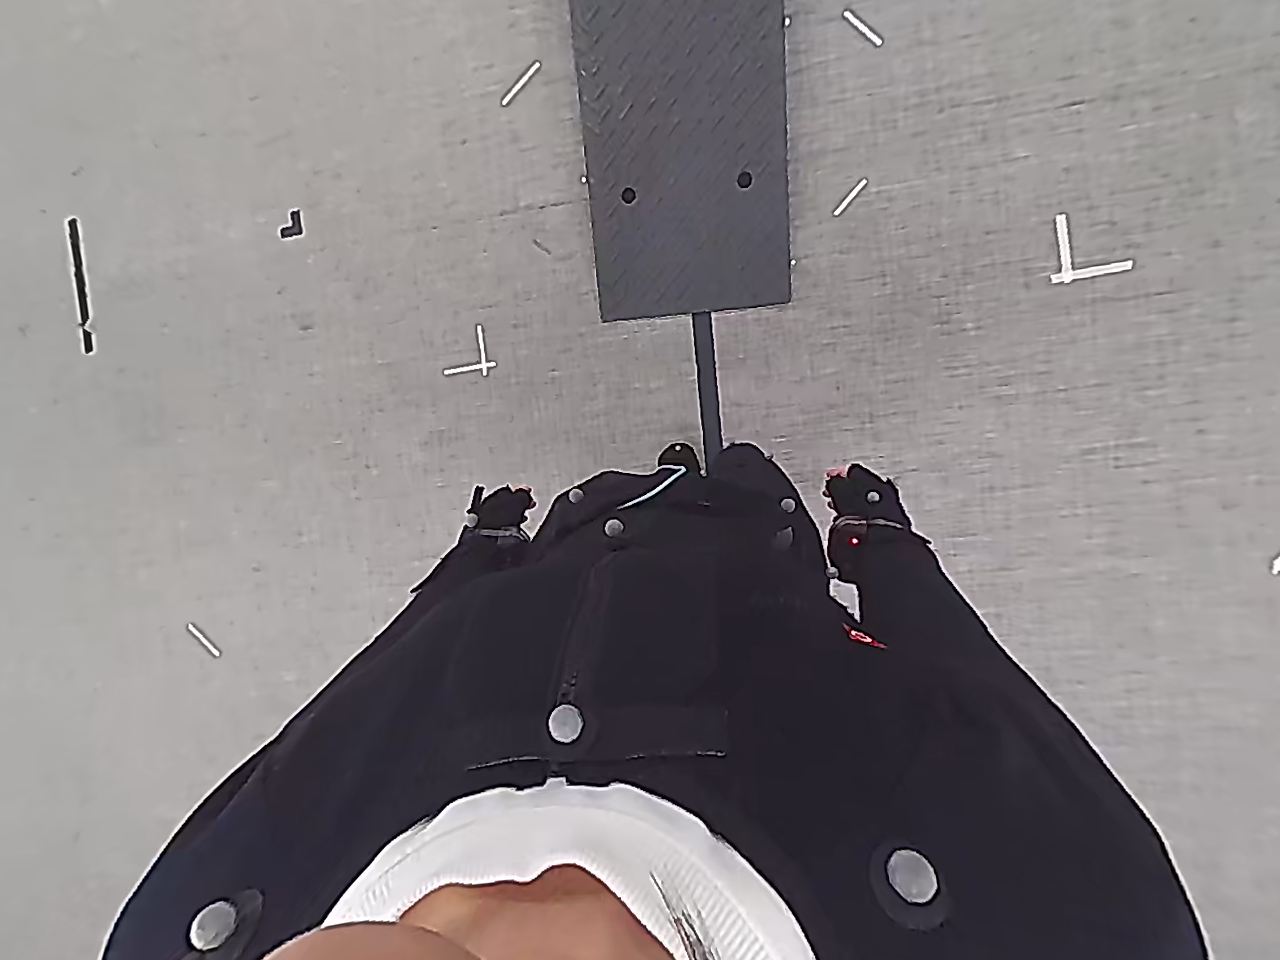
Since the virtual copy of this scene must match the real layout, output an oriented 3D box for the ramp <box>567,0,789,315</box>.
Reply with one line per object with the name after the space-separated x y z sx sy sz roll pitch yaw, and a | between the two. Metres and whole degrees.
0.092 -0.931 1.276 0.509 0.206 0.991 -5 94 7 | ramp
